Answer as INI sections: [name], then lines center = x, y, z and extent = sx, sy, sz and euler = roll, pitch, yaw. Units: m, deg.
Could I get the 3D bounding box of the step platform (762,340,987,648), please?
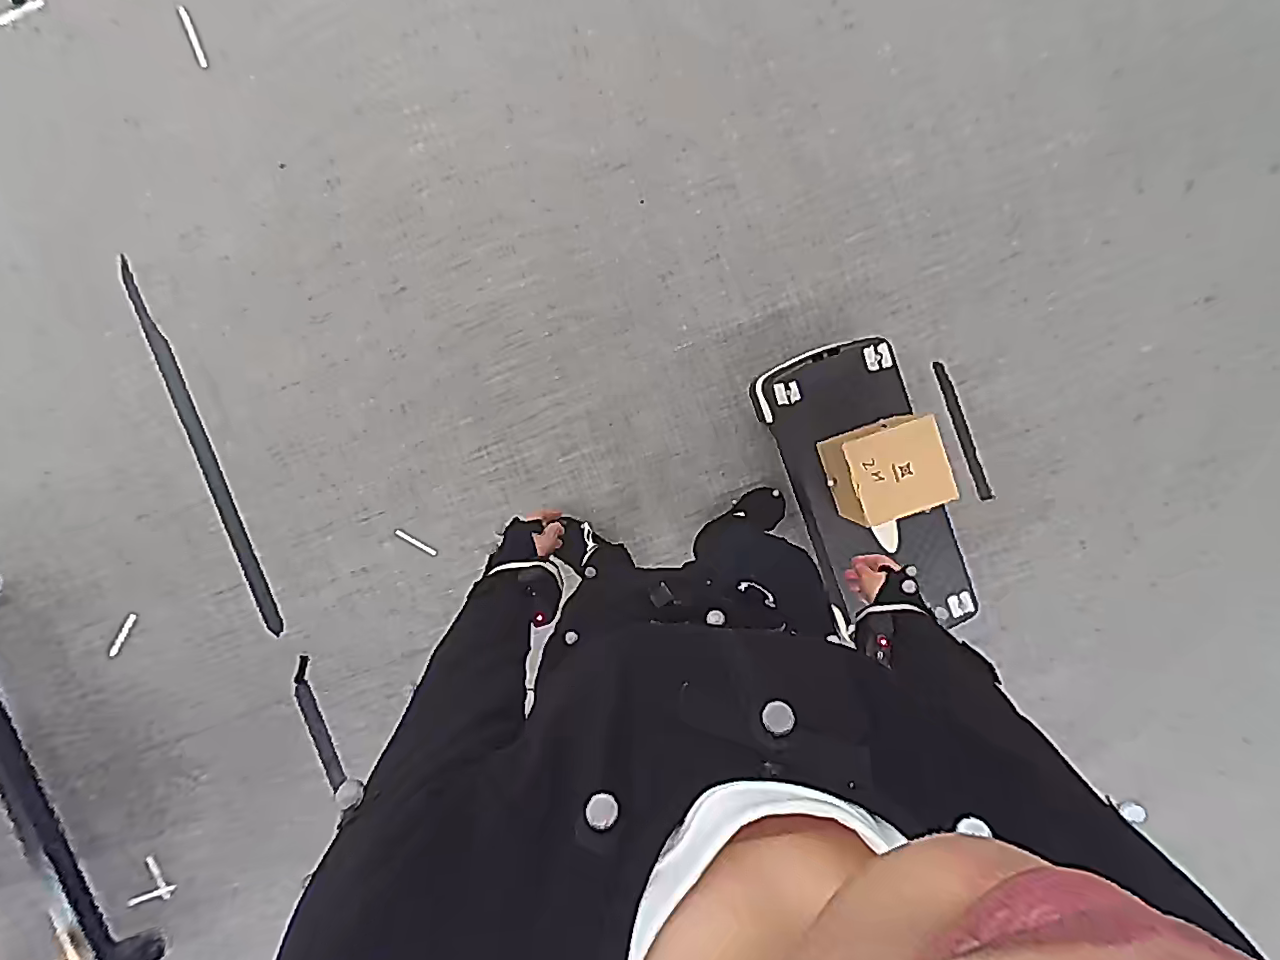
[step platform]
center = 0.530, 0.032, 1.249
extent = 0.286, 0.204, 0.684
euler = -21, 93, 3

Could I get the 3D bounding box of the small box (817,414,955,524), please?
[small box]
center = 0.477, -0.027, 1.072
extent = 0.179, 0.176, 0.168
euler = -19, 93, 4
